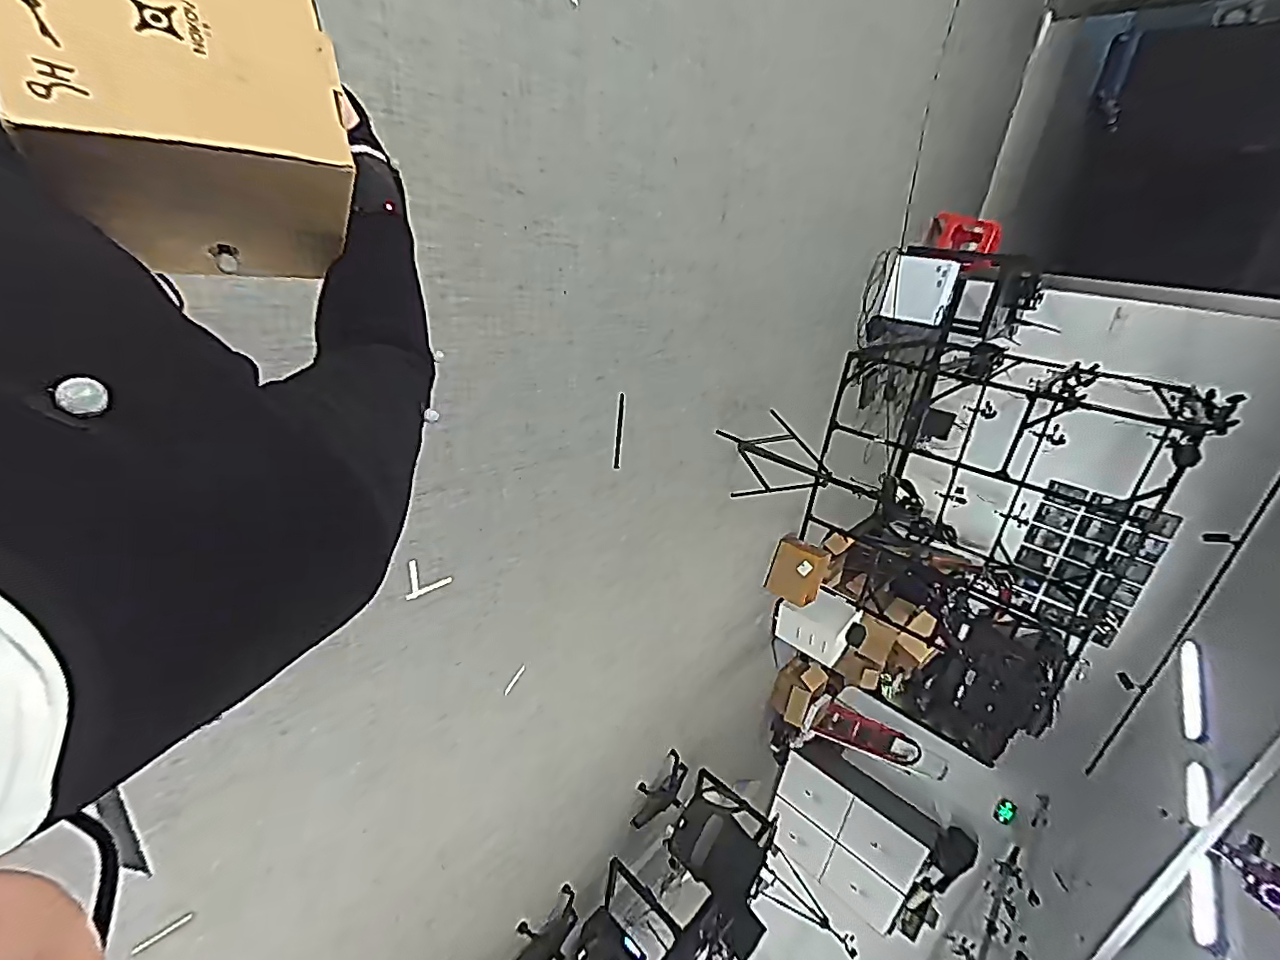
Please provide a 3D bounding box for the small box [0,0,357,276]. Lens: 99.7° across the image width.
[{"bbox_3d":[-0.344,-0.277,0.424,0.179,0.176,0.168,-12,86,-35],"label":"small box"}]
